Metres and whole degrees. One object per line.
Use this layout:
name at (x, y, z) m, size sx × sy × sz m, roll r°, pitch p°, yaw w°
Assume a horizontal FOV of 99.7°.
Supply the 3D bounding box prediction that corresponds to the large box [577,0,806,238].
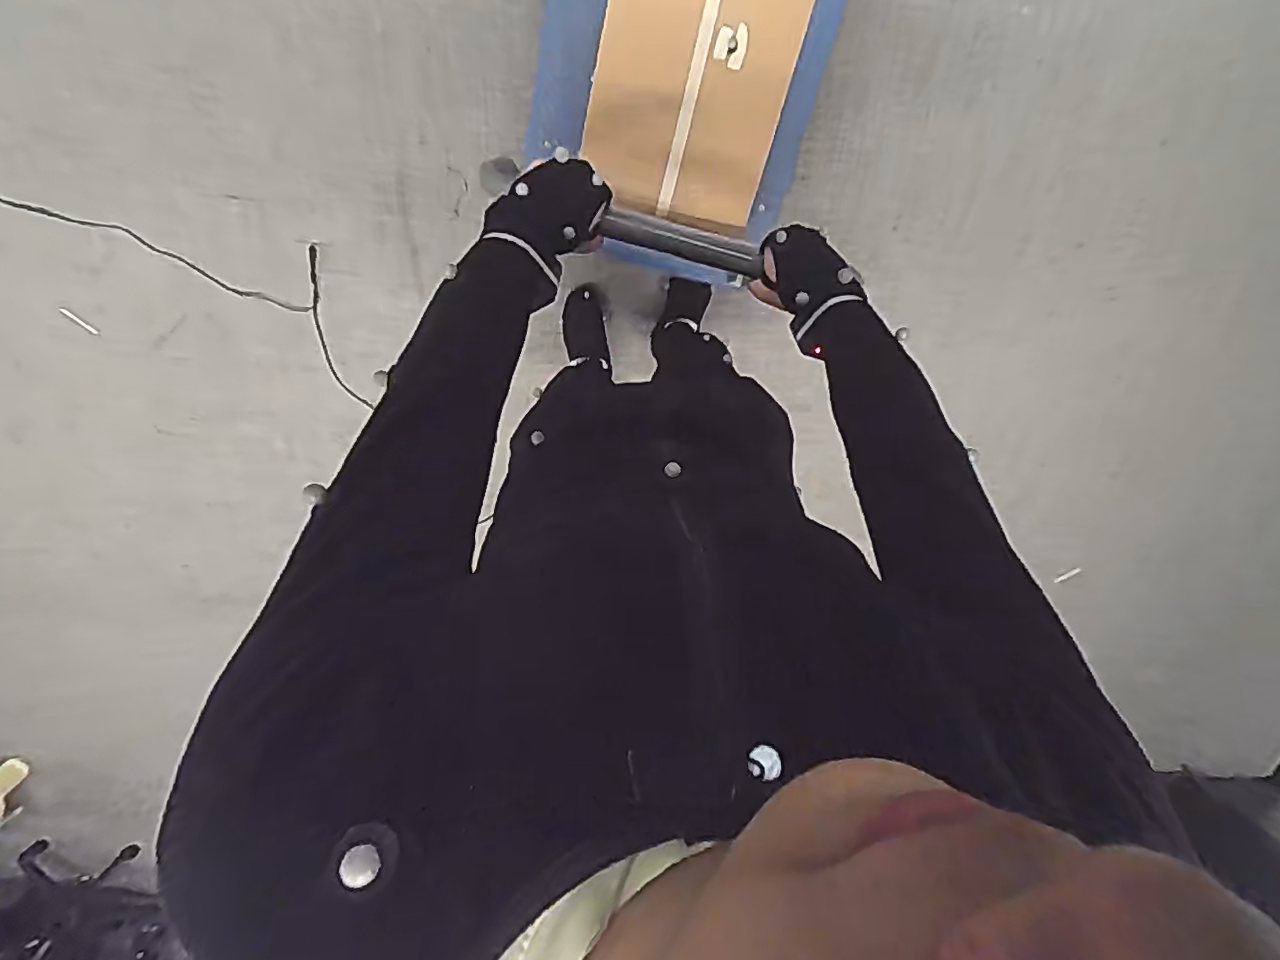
large box at (0.074, -0.710, 1.032) m, size 0.320 × 0.320 × 0.408 m, roll 12°, pitch 113°, yaw -9°
